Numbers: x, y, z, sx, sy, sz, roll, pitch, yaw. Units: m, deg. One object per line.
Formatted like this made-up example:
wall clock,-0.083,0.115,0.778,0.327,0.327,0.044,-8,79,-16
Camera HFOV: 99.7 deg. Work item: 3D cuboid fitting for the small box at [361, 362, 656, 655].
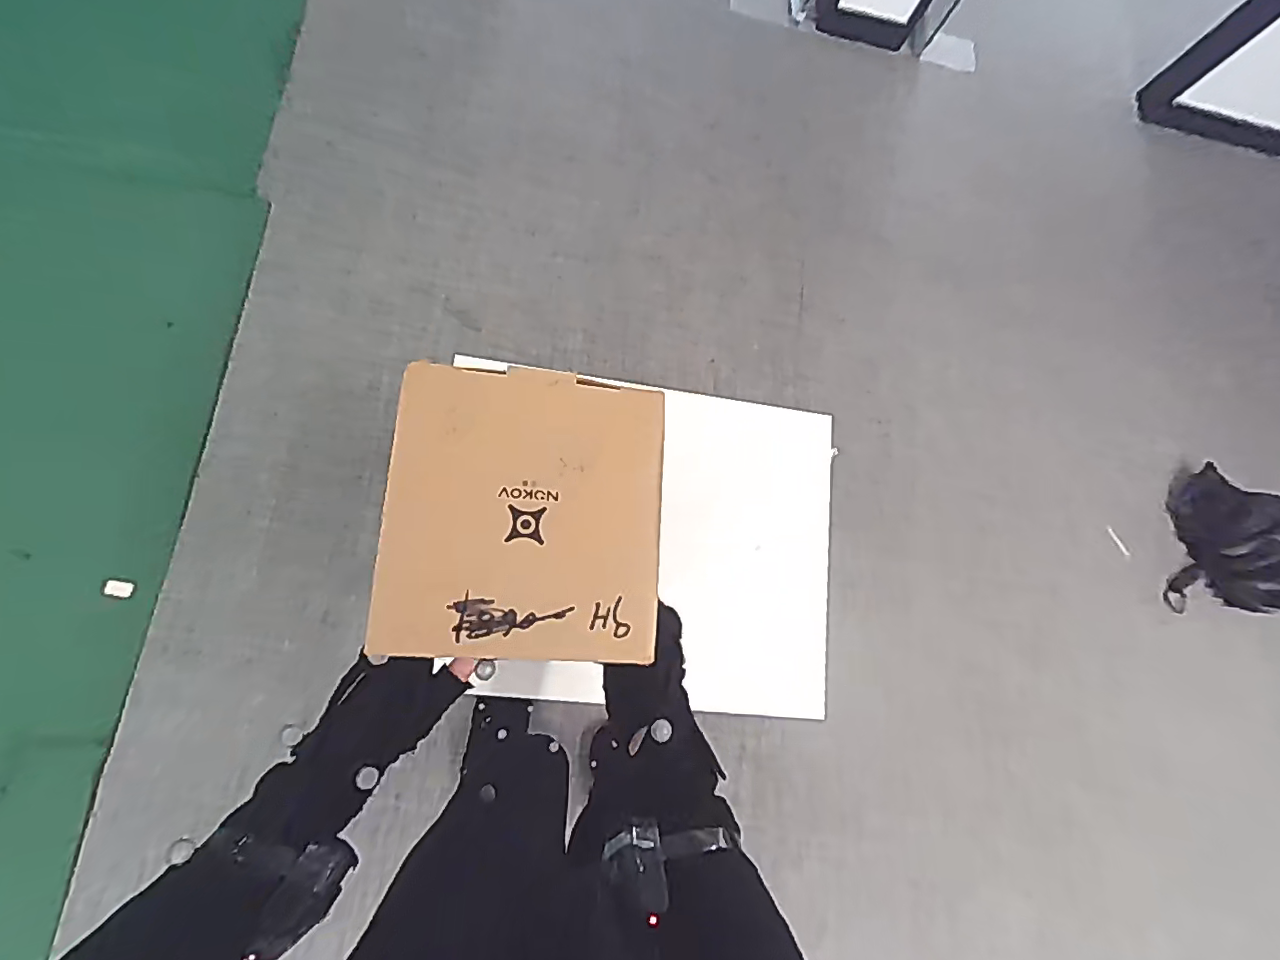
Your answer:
small box,-0.088,0.034,0.411,0.168,0.176,0.179,5,77,-9
